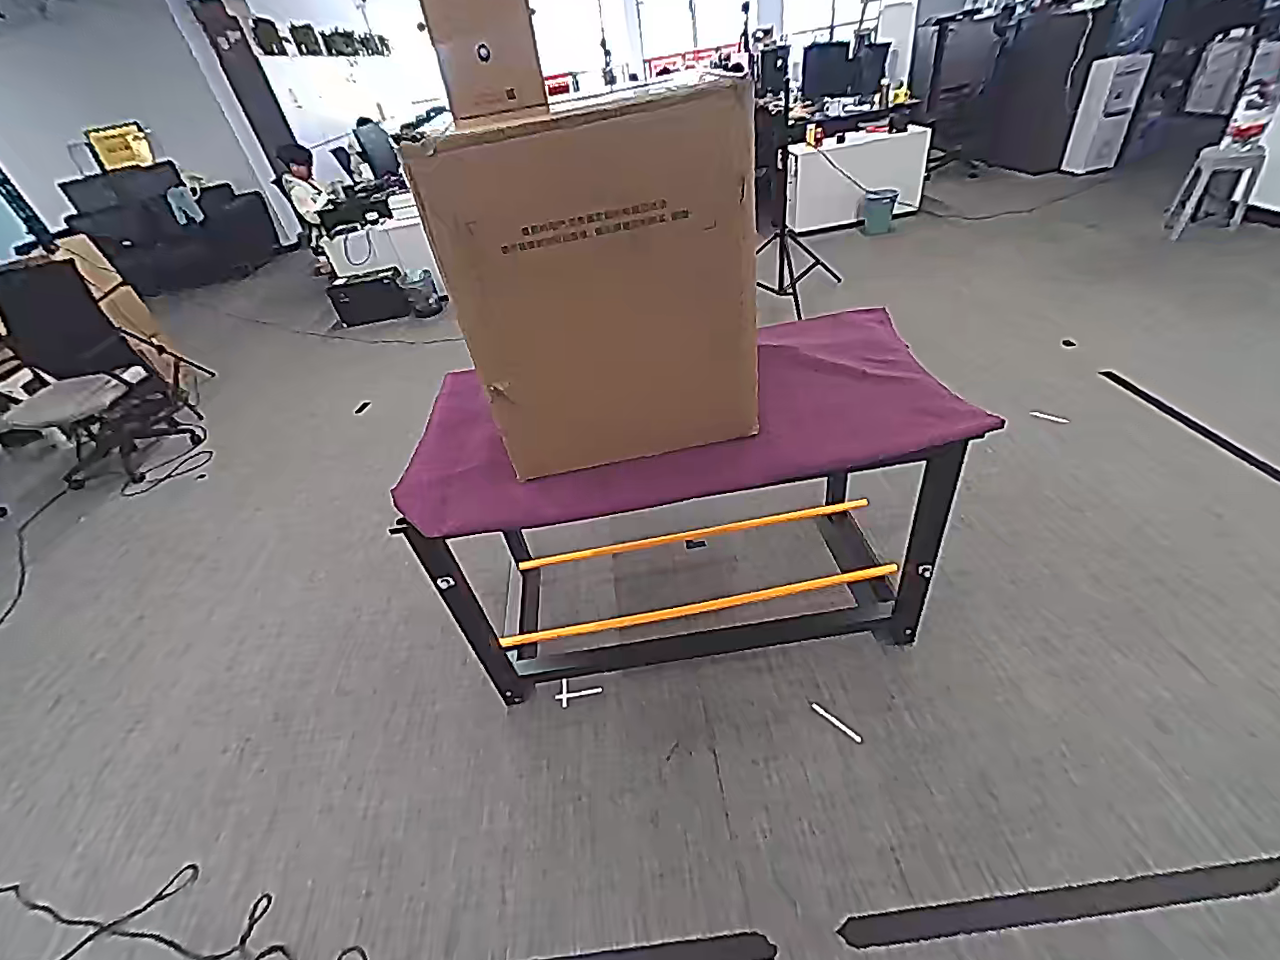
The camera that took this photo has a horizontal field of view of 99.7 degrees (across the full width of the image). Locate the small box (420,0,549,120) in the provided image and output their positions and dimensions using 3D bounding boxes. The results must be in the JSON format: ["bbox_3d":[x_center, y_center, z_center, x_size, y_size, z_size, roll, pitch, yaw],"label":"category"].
[{"bbox_3d":[-0.259,-0.730,0.926,0.168,0.176,0.179,-14,39,-6],"label":"small box"}]
